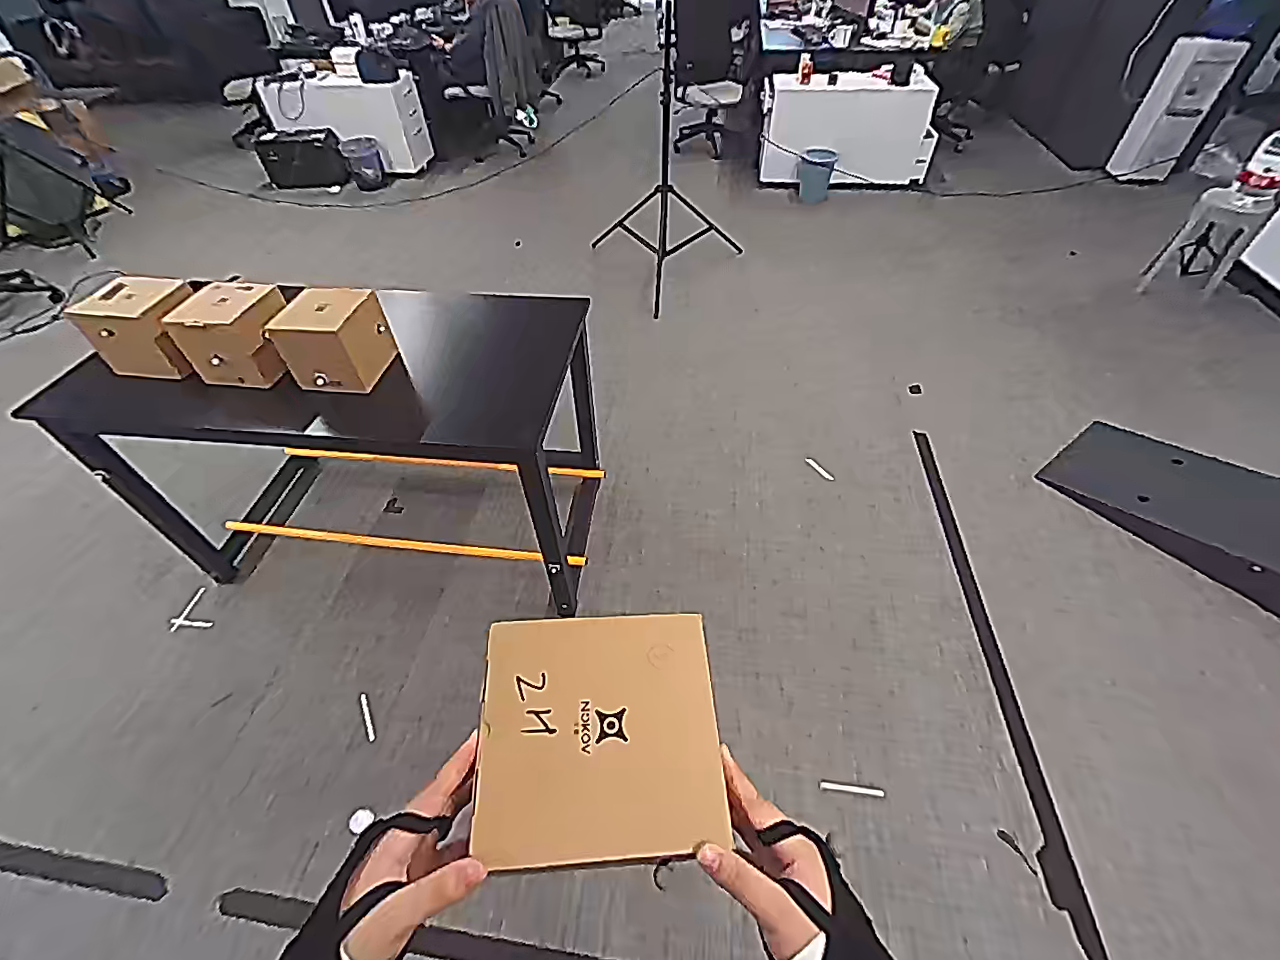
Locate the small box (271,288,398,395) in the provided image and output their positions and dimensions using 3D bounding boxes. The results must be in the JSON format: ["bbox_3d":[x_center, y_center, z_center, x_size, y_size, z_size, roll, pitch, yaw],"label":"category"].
[{"bbox_3d":[-0.683,-0.318,1.239,0.168,0.176,0.179,3,48,6],"label":"small box"}]

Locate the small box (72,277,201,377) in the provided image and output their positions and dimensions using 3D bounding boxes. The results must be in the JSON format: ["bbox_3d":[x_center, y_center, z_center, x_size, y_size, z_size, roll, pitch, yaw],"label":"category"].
[{"bbox_3d":[-1.149,-0.361,1.286,0.179,0.176,0.168,5,48,5],"label":"small box"}]

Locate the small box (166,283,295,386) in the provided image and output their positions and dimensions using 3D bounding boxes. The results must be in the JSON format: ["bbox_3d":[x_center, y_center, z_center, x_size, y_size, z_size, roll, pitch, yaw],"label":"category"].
[{"bbox_3d":[-0.920,-0.336,1.259,0.168,0.176,0.179,5,48,5],"label":"small box"}]

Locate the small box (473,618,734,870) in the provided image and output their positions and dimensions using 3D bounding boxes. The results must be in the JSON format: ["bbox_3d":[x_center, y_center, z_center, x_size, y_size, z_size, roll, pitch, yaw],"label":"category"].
[{"bbox_3d":[-0.032,0.230,0.466,0.179,0.176,0.168,-1,53,-4],"label":"small box"}]
